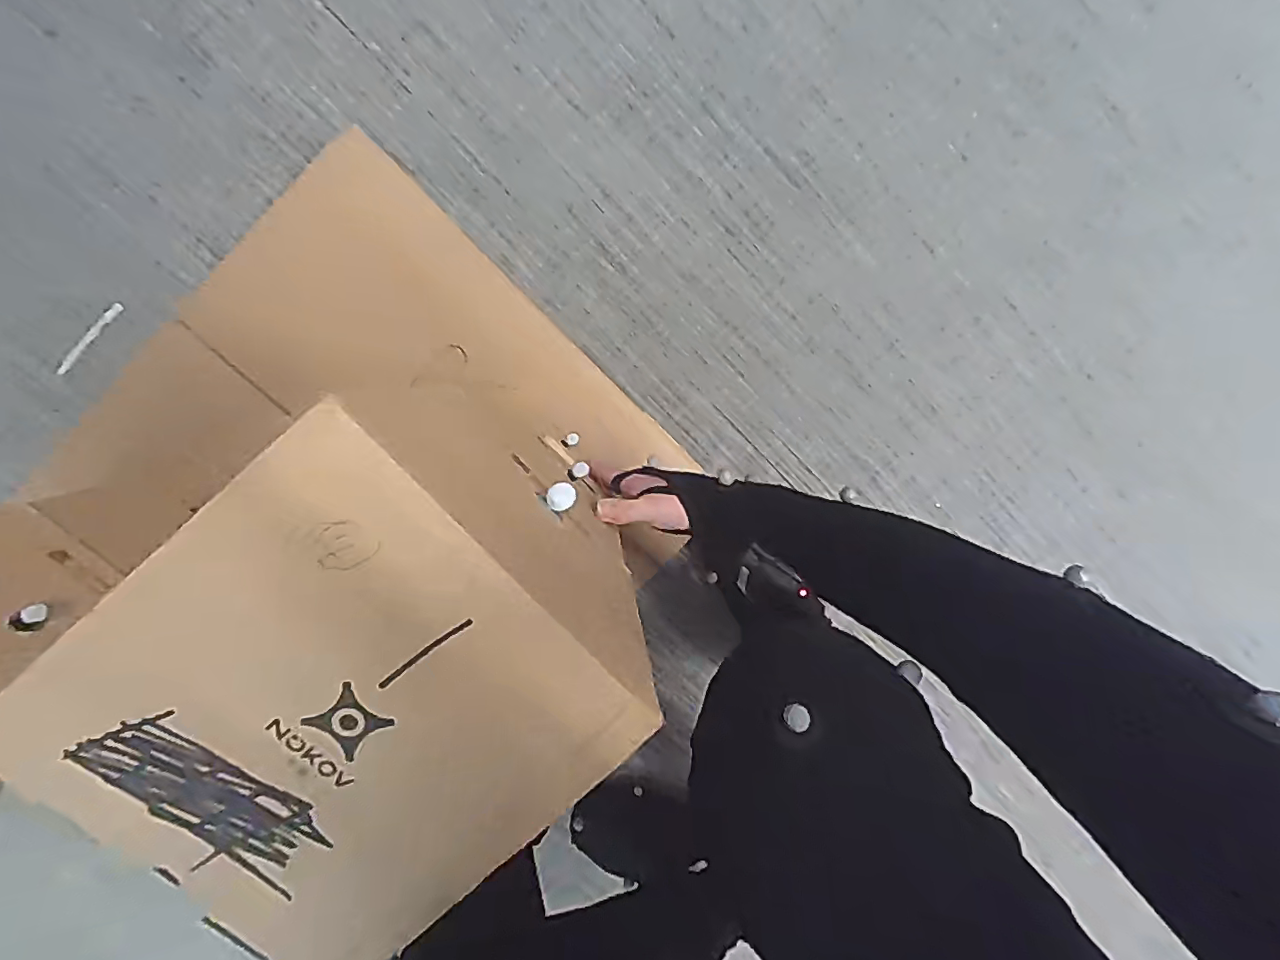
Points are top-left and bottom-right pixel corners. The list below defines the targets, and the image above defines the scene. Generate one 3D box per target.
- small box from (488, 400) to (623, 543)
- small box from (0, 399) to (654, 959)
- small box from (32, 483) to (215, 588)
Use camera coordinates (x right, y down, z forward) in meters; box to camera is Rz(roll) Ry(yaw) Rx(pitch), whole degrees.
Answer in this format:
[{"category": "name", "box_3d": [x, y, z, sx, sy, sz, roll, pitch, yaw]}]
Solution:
[{"category": "small box", "box_3d": [-0.141, 0.026, 0.592, 0.179, 0.176, 0.168, -42, 101, 2]}, {"category": "small box", "box_3d": [-0.115, 0.077, 0.269, 0.179, 0.176, 0.168, -40, 102, 3]}, {"category": "small box", "box_3d": [-0.541, 0.124, 0.568, 0.179, 0.176, 0.168, -44, 100, 3]}]
